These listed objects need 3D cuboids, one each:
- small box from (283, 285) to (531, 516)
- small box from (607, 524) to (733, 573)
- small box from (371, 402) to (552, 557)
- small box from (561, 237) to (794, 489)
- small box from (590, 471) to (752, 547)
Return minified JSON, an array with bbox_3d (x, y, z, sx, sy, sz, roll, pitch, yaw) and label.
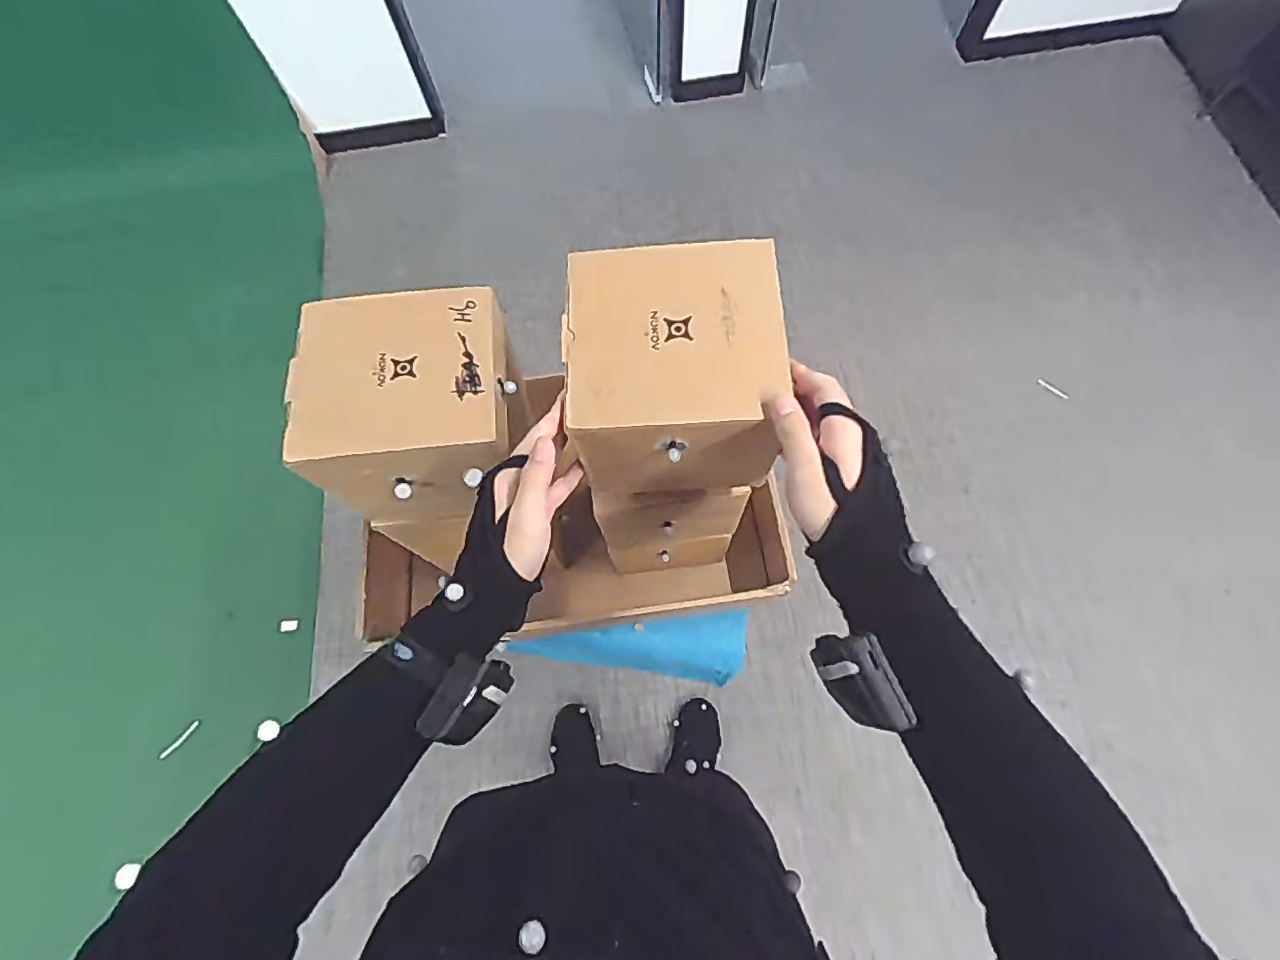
[{"bbox_3d":[-0.214,-0.069,0.547,0.179,0.176,0.168,-6,68,-3],"label":"small box"},{"bbox_3d":[0.041,0.041,0.838,0.179,0.176,0.168,-7,68,1],"label":"small box"},{"bbox_3d":[-0.217,-0.005,0.697,0.179,0.176,0.168,-7,68,-3],"label":"small box"},{"bbox_3d":[0.032,-0.095,0.501,0.179,0.176,0.168,-2,70,3],"label":"small box"},{"bbox_3d":[0.031,-0.022,0.687,0.179,0.176,0.168,-9,68,1],"label":"small box"}]
